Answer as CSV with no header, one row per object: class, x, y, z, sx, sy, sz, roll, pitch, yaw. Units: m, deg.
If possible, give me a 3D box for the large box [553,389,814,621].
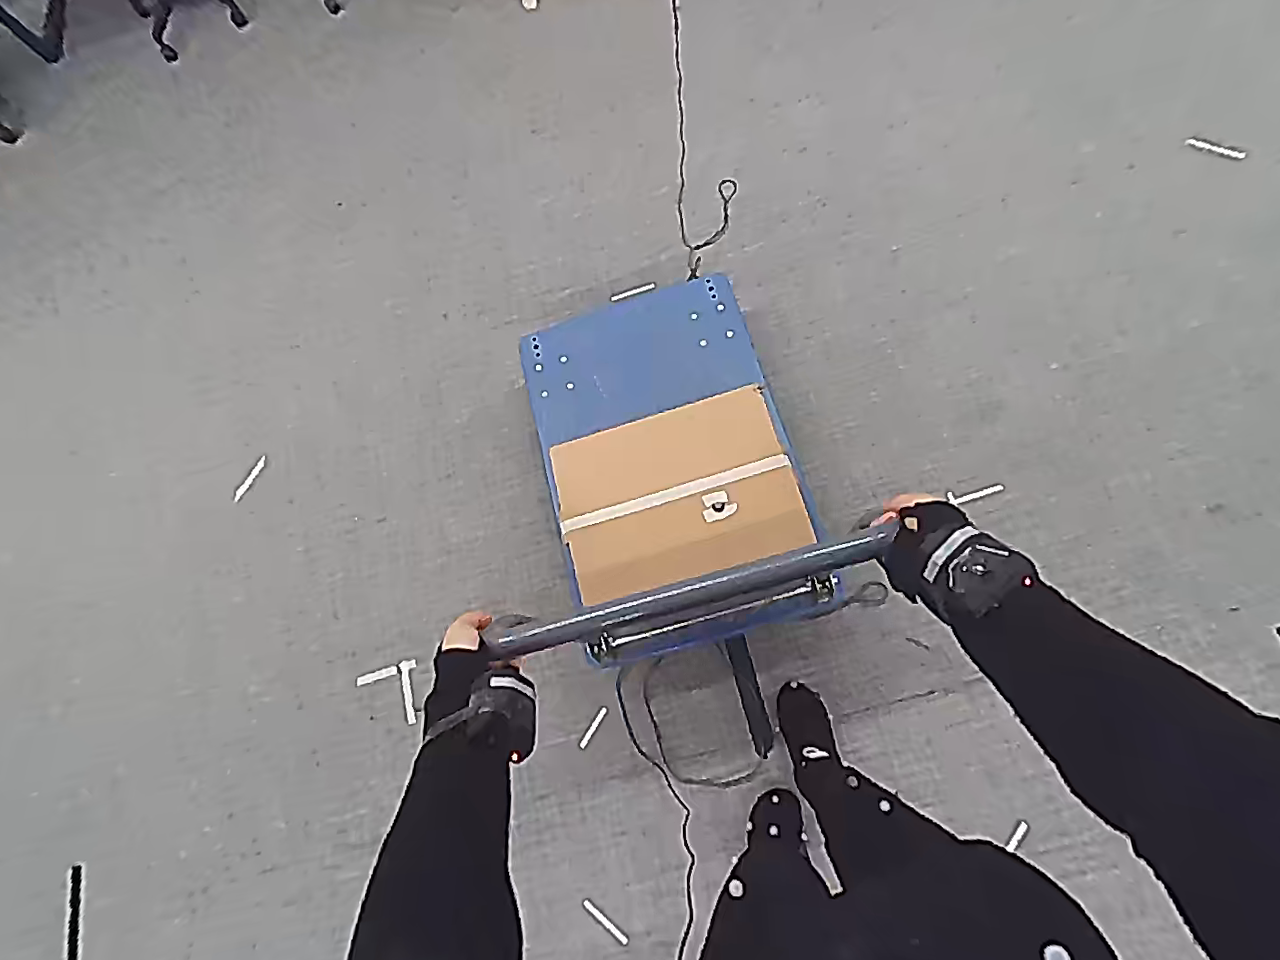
large box,0.084,0.074,1.092,0.408,0.320,0.320,-17,72,4
